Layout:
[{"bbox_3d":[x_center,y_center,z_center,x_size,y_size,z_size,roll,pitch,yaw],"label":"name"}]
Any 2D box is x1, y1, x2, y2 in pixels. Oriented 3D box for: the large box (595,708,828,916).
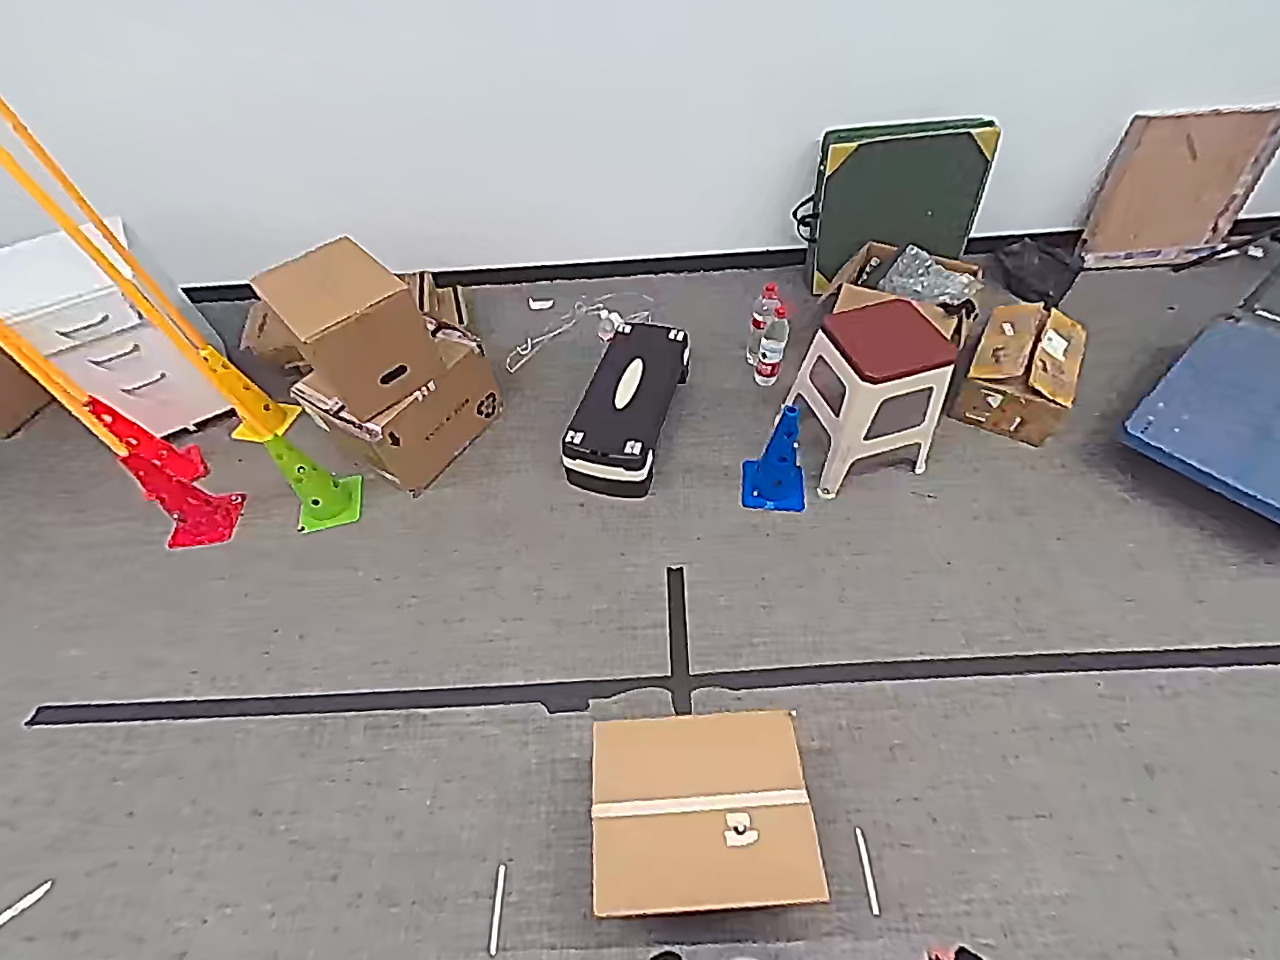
[{"bbox_3d":[0.120,0.693,1.128,0.408,0.320,0.320,-4,53,-1],"label":"large box"}]
